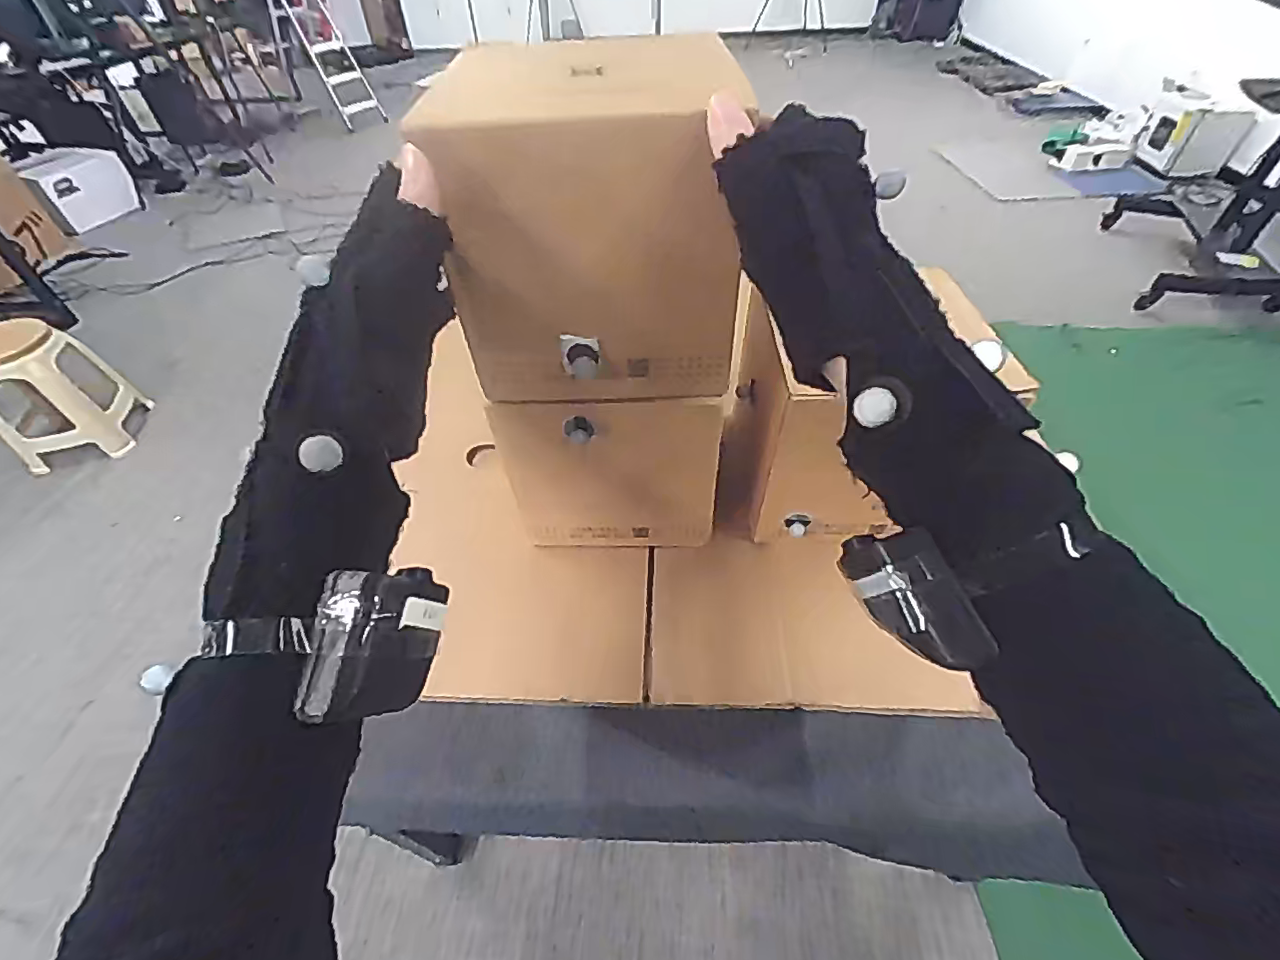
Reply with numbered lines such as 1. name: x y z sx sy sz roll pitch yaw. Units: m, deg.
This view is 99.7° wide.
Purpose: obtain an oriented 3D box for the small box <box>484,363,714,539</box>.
1. small box: -0.022 -0.067 0.490 0.168 0.176 0.179 0 48 4

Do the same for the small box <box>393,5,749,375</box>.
1. small box: -0.030 -0.188 0.358 0.168 0.176 0.179 -2 49 1
